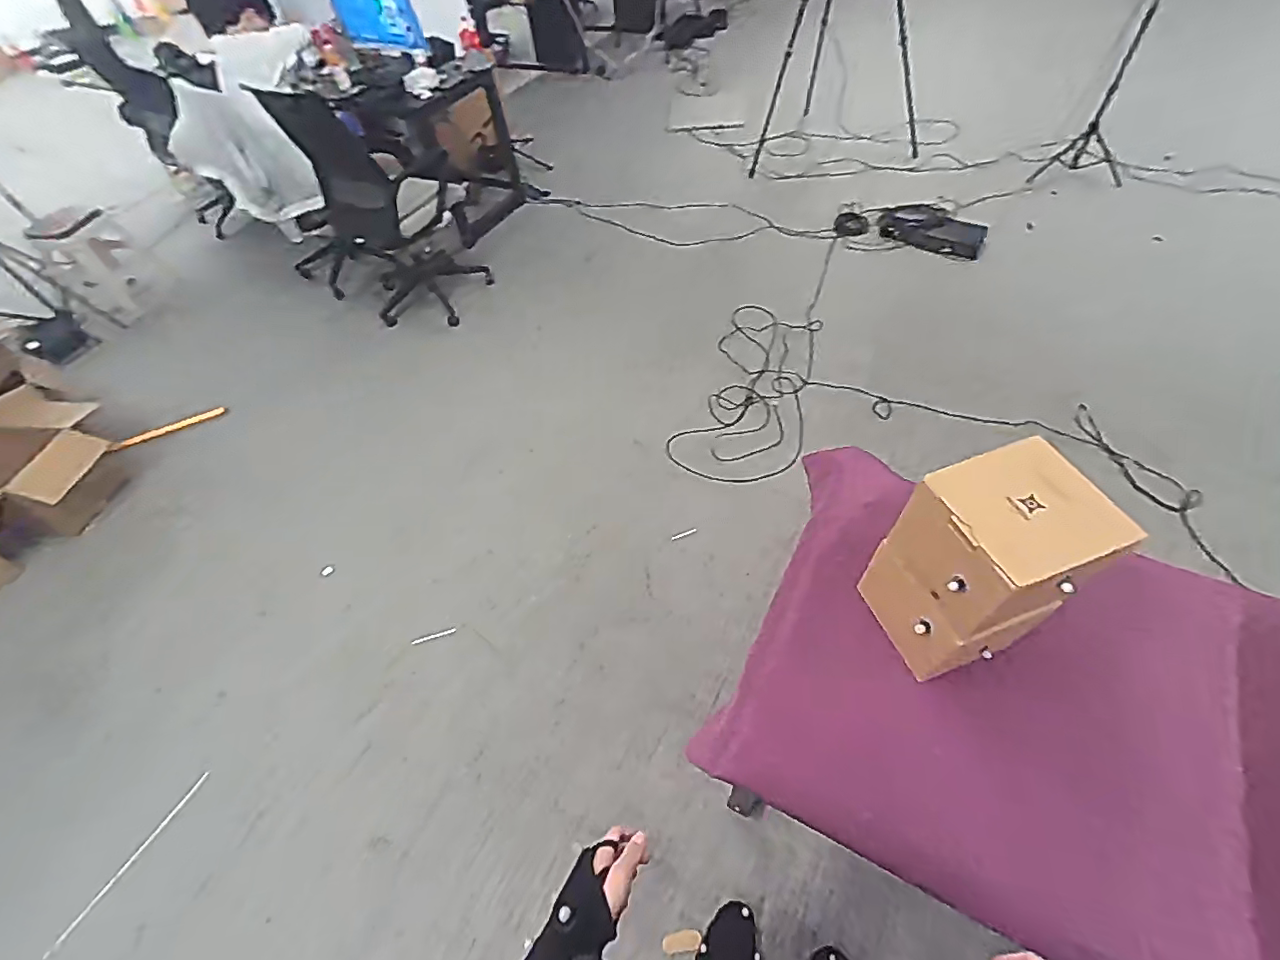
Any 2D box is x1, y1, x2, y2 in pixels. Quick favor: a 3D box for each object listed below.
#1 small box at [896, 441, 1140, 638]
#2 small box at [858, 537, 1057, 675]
[{"bbox_3d":[0.461,0.083,0.703,0.179,0.176,0.168,-18,55,-7],"label":"small box"},{"bbox_3d":[0.469,0.181,0.833,0.168,0.176,0.179,-18,53,-8],"label":"small box"}]
